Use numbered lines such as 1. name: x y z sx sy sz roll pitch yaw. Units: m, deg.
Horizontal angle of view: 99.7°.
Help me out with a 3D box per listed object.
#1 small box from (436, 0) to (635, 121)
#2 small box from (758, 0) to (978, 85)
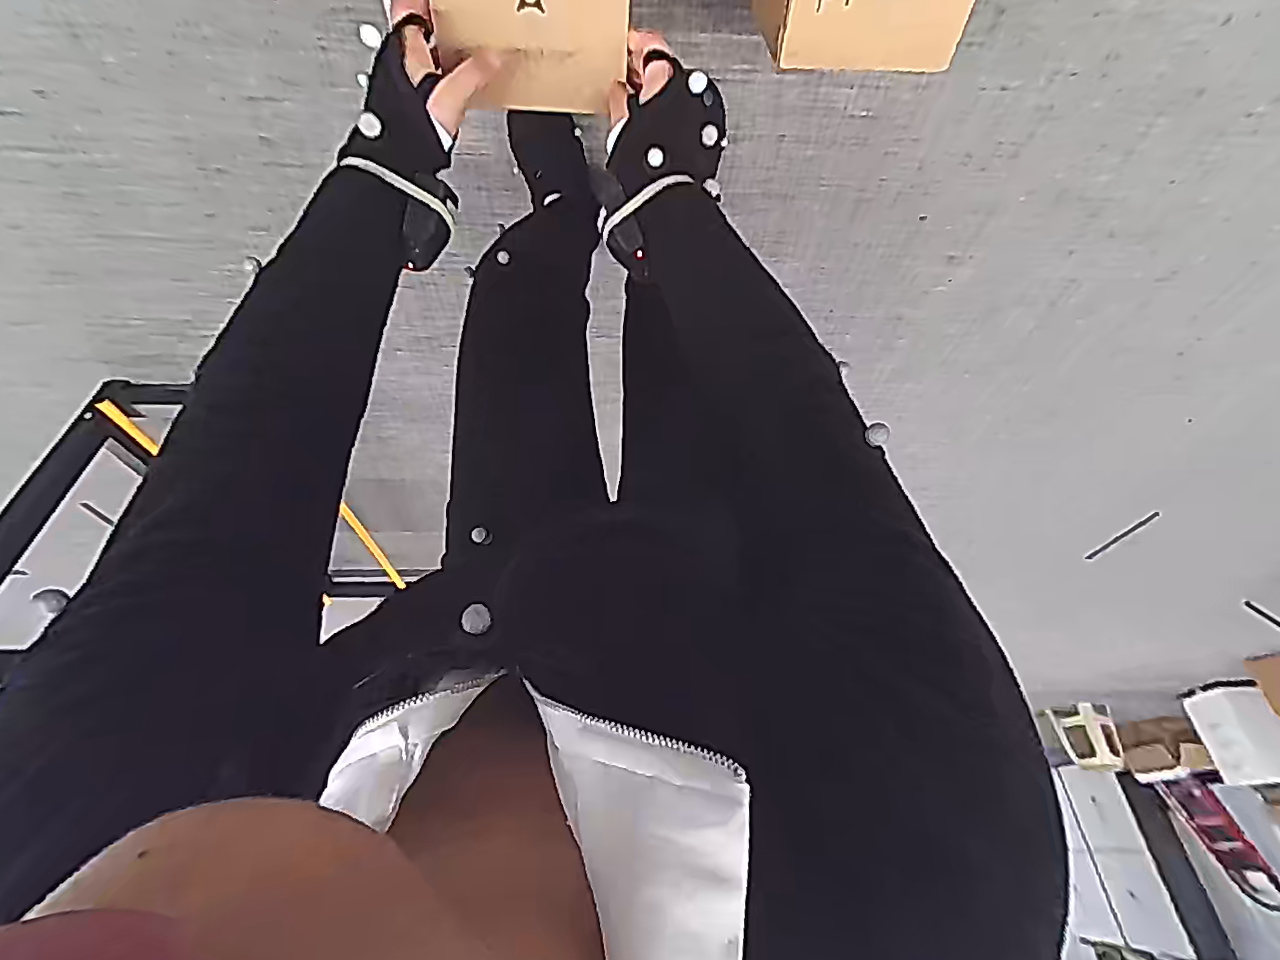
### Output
1. small box: -0.089 -0.459 0.488 0.168 0.176 0.179 0 144 -4
2. small box: 0.223 -0.515 0.525 0.179 0.176 0.168 0 145 -3
